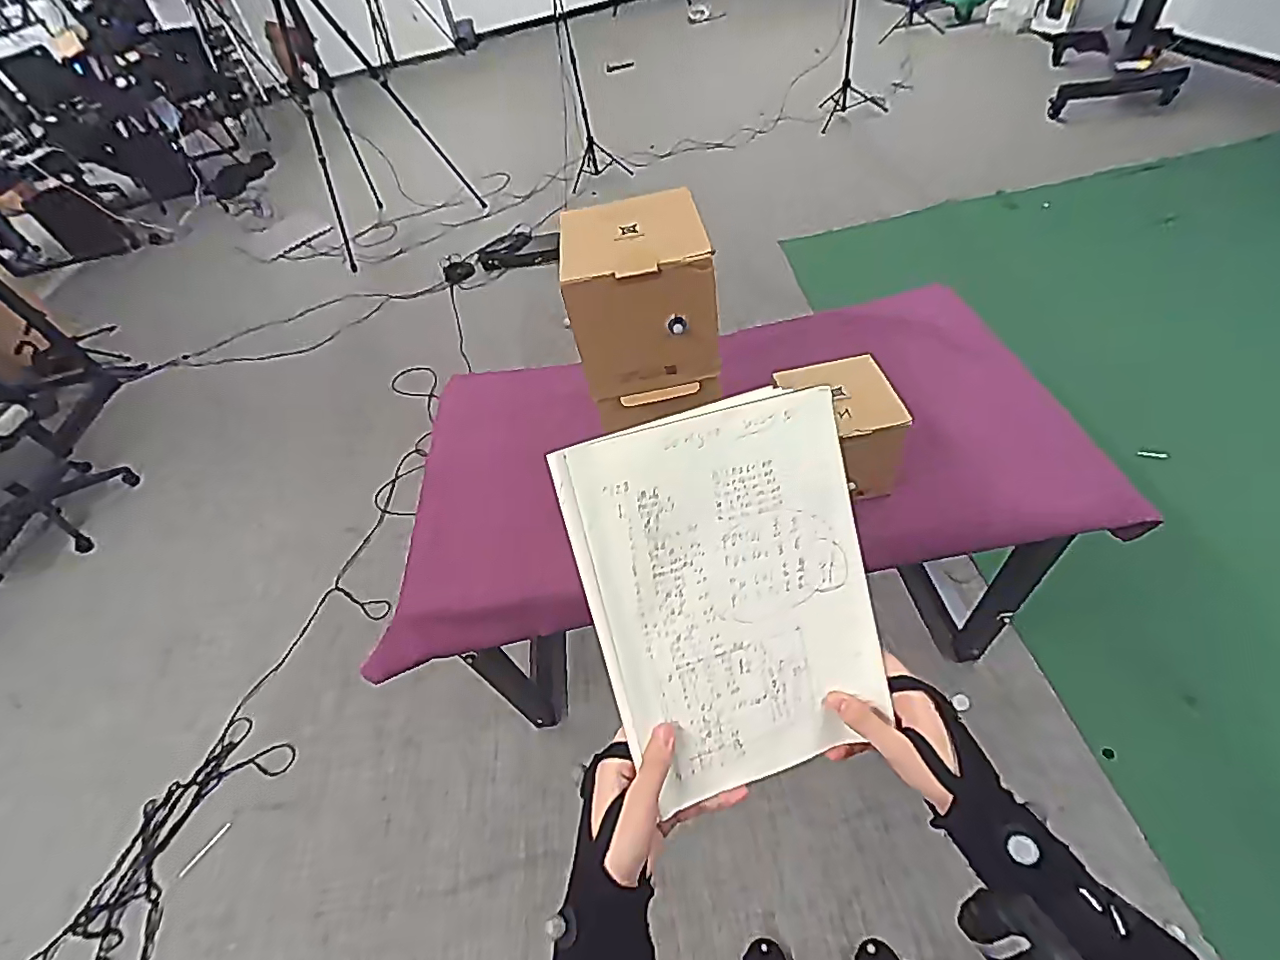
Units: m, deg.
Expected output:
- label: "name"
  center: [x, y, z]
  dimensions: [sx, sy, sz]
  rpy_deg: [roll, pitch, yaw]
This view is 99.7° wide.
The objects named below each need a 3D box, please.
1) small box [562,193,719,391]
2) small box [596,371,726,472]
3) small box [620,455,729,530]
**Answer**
- label: "small box"
  center: [0.004, -0.229, 0.685]
  dimensions: [0.168, 0.176, 0.179]
  rpy_deg: [-9, 49, 4]
- label: "small box"
  center: [0.031, -0.128, 0.811]
  dimensions: [0.168, 0.176, 0.179]
  rpy_deg: [-10, 48, 4]
- label: "small box"
  center: [0.058, -0.028, 0.939]
  dimensions: [0.168, 0.176, 0.179]
  rpy_deg: [-10, 50, 4]
